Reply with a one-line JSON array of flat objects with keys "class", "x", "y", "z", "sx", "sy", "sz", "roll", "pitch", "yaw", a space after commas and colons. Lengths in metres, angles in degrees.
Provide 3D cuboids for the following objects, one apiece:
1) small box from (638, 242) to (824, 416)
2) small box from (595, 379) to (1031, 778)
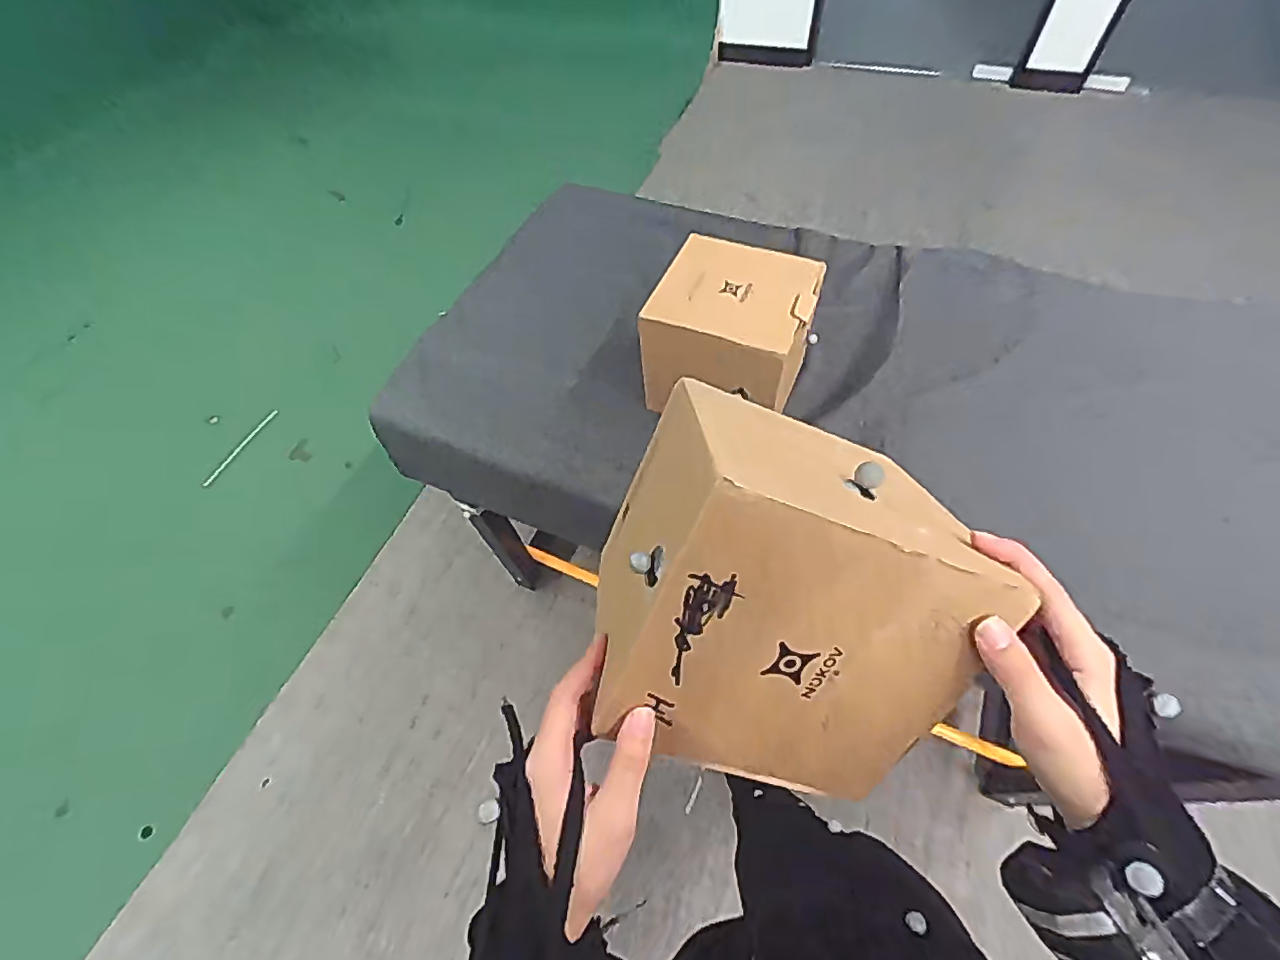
[{"class": "small box", "x": 0.114, "y": -0.171, "z": 0.698, "sx": 0.179, "sy": 0.176, "sz": 0.168, "roll": 19, "pitch": 60, "yaw": 17}, {"class": "small box", "x": 0.082, "y": 0.051, "z": 0.352, "sx": 0.179, "sy": 0.168, "sz": 0.176, "roll": 20, "pitch": 23, "yaw": -11}]
